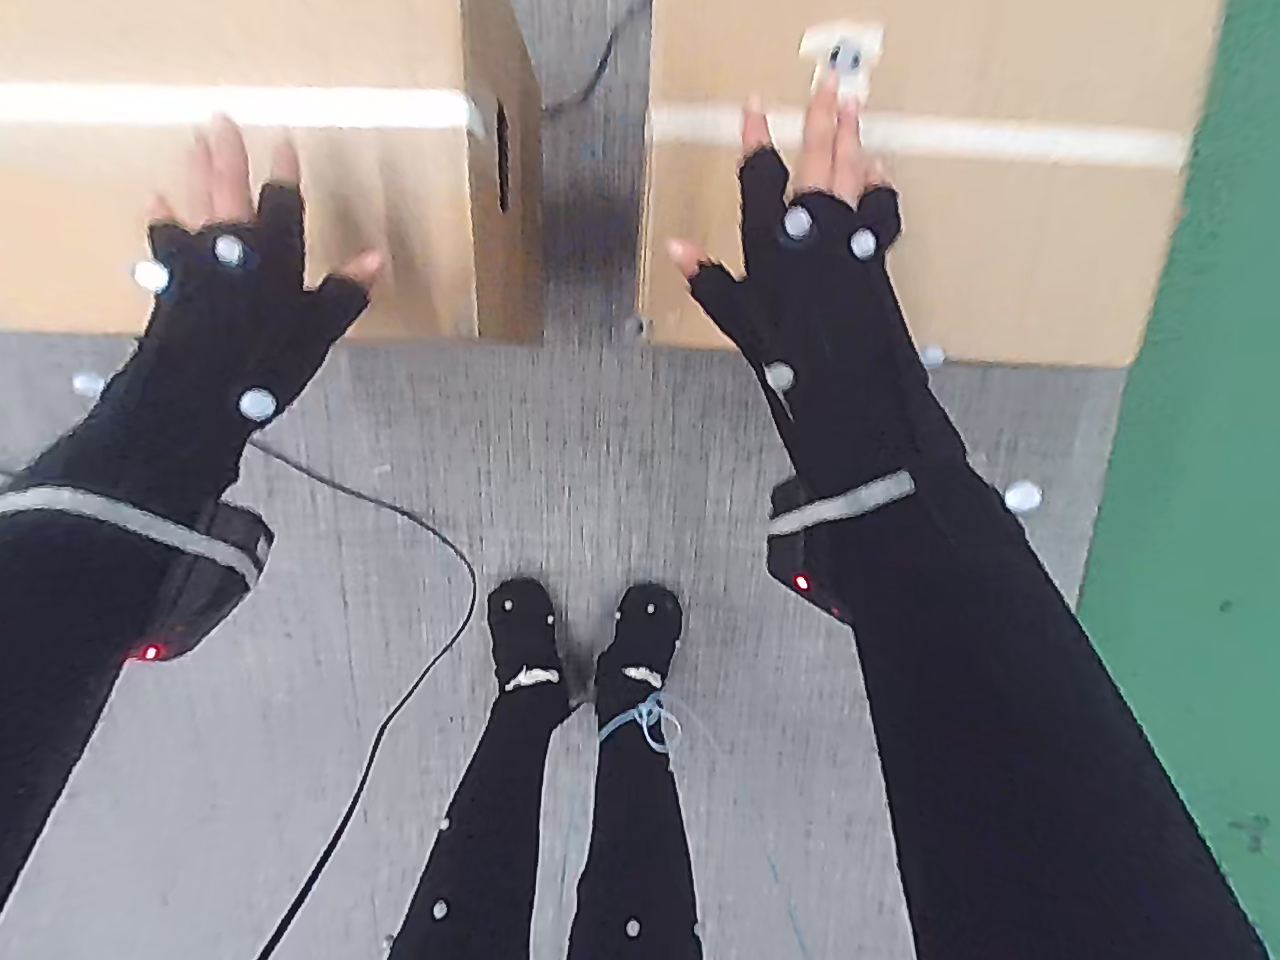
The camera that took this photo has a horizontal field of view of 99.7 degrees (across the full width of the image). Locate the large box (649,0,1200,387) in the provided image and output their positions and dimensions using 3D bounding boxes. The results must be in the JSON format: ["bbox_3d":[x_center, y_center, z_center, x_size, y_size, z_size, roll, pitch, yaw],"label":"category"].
[{"bbox_3d":[0.220,-0.274,0.582,0.408,0.320,0.320,4,102,-1],"label":"large box"}]
